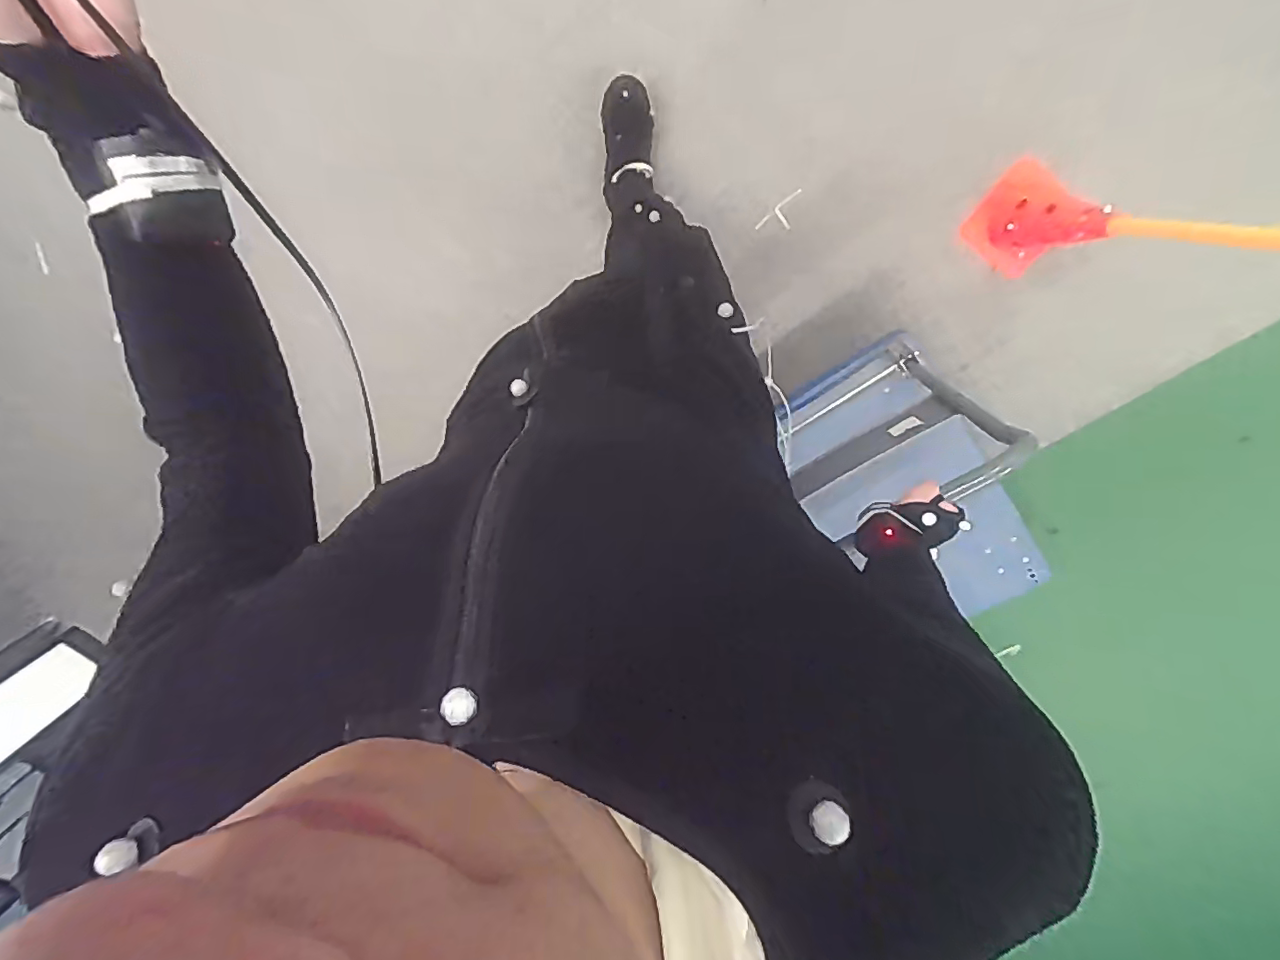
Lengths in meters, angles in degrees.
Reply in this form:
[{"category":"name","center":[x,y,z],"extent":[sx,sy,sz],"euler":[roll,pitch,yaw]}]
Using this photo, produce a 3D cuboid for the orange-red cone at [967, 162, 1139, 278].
[{"category":"orange-red cone","center":[0.893,-0.533,1.126],"extent":[0.198,0.360,0.199],"euler":[33,115,-11]}]
